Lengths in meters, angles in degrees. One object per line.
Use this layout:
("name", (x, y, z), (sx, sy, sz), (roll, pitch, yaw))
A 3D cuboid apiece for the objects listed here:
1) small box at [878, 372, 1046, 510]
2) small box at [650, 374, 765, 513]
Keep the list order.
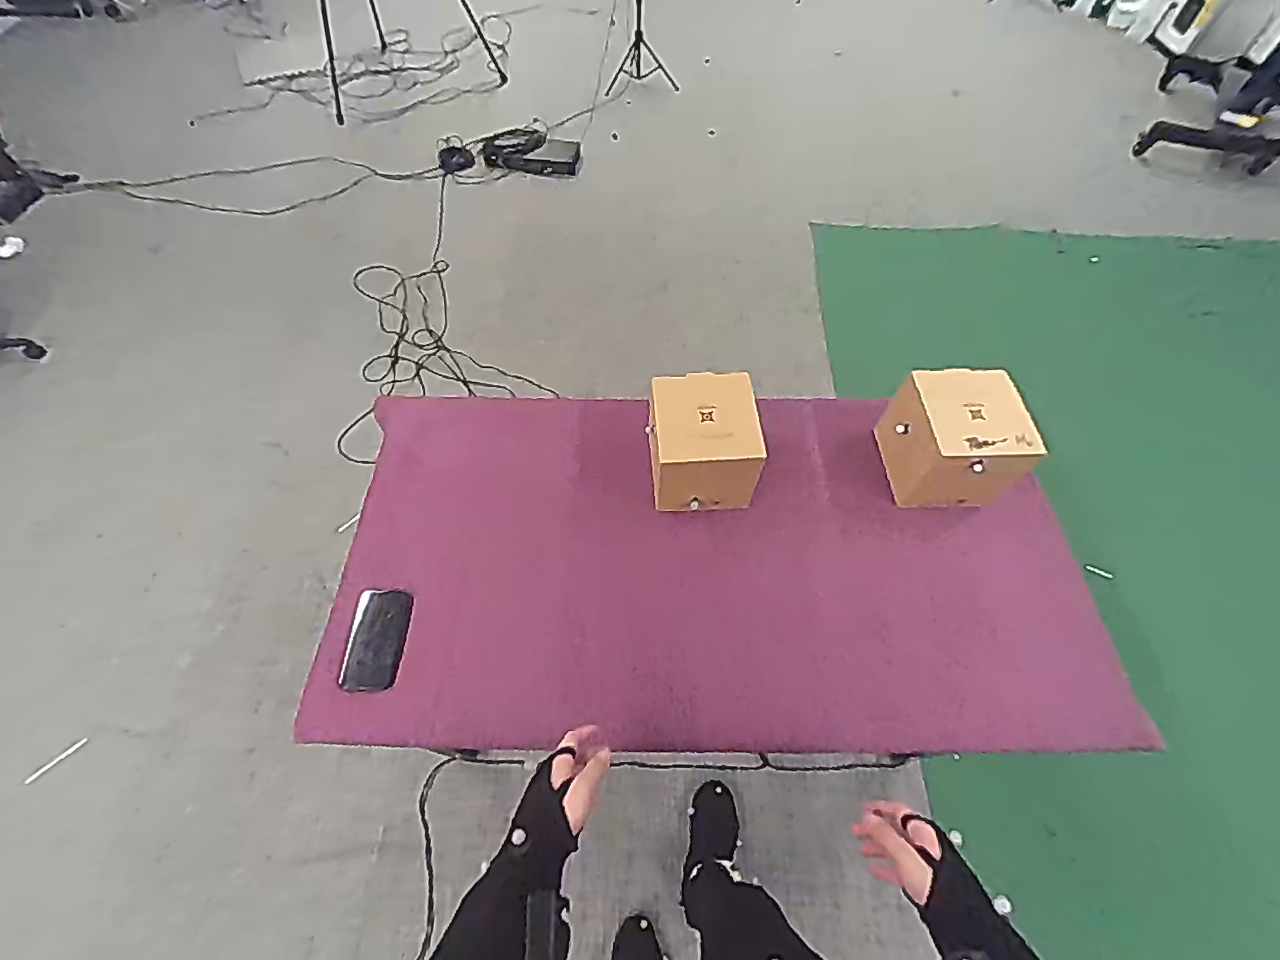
("small box", (0.534, -0.065, 0.931), (0.168, 0.176, 0.179), (-1, 58, 0))
("small box", (0.105, -0.060, 0.925), (0.168, 0.176, 0.179), (-3, 59, -1))
